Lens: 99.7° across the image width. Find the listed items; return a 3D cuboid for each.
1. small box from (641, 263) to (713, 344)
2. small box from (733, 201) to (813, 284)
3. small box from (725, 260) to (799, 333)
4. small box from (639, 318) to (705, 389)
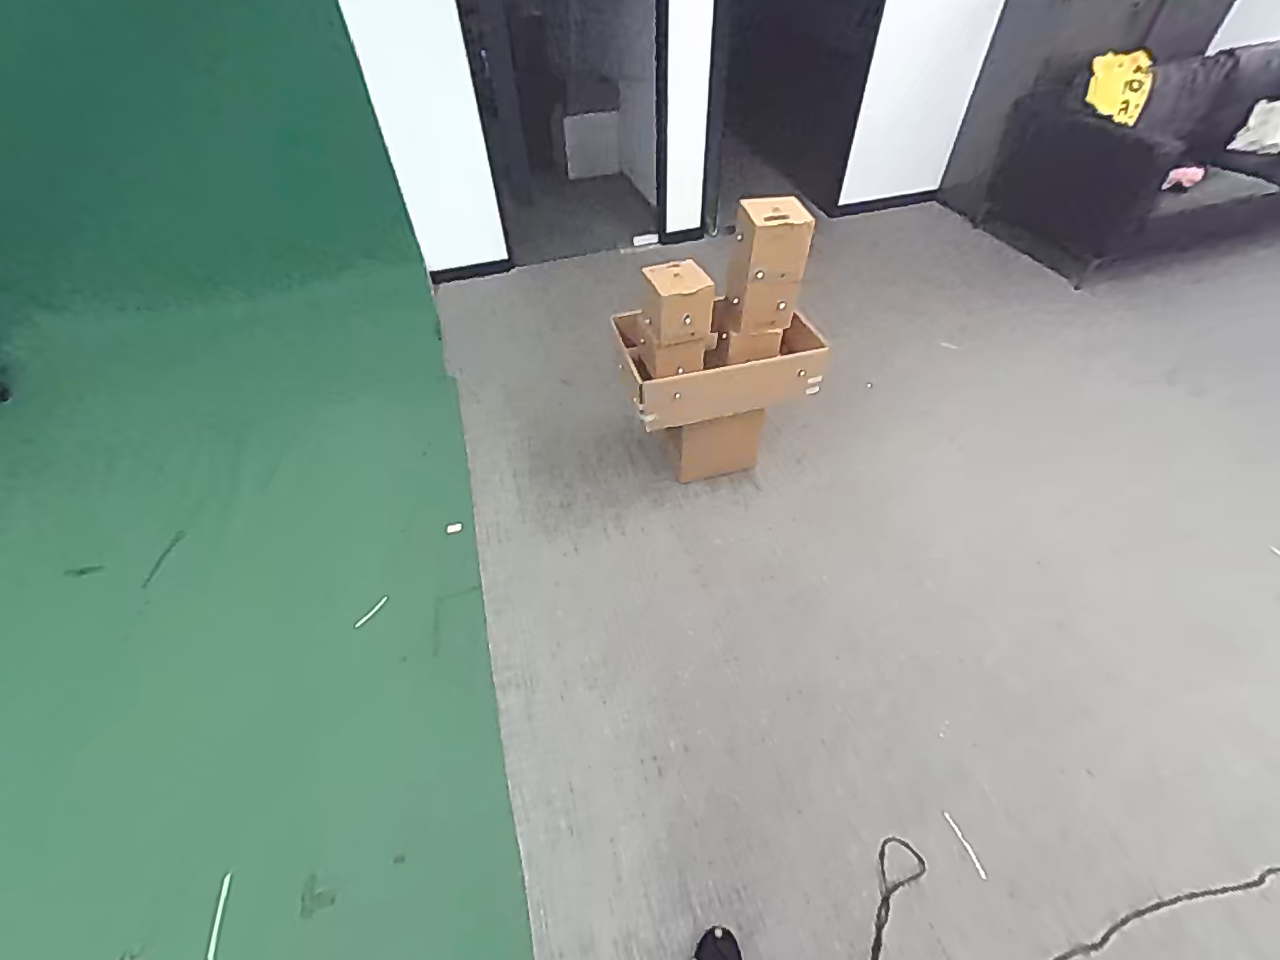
[{"bbox_3d":[0.108,-0.526,1.632,0.168,0.176,0.179,-14,49,-13],"label":"small box"},{"bbox_3d":[0.374,-0.676,1.549,0.168,0.176,0.179,-5,47,-5],"label":"small box"},{"bbox_3d":[0.369,-0.568,1.671,0.168,0.176,0.179,-8,48,-7],"label":"small box"},{"bbox_3d":[0.097,-0.423,1.761,0.168,0.176,0.179,-15,49,-12],"label":"small box"}]
